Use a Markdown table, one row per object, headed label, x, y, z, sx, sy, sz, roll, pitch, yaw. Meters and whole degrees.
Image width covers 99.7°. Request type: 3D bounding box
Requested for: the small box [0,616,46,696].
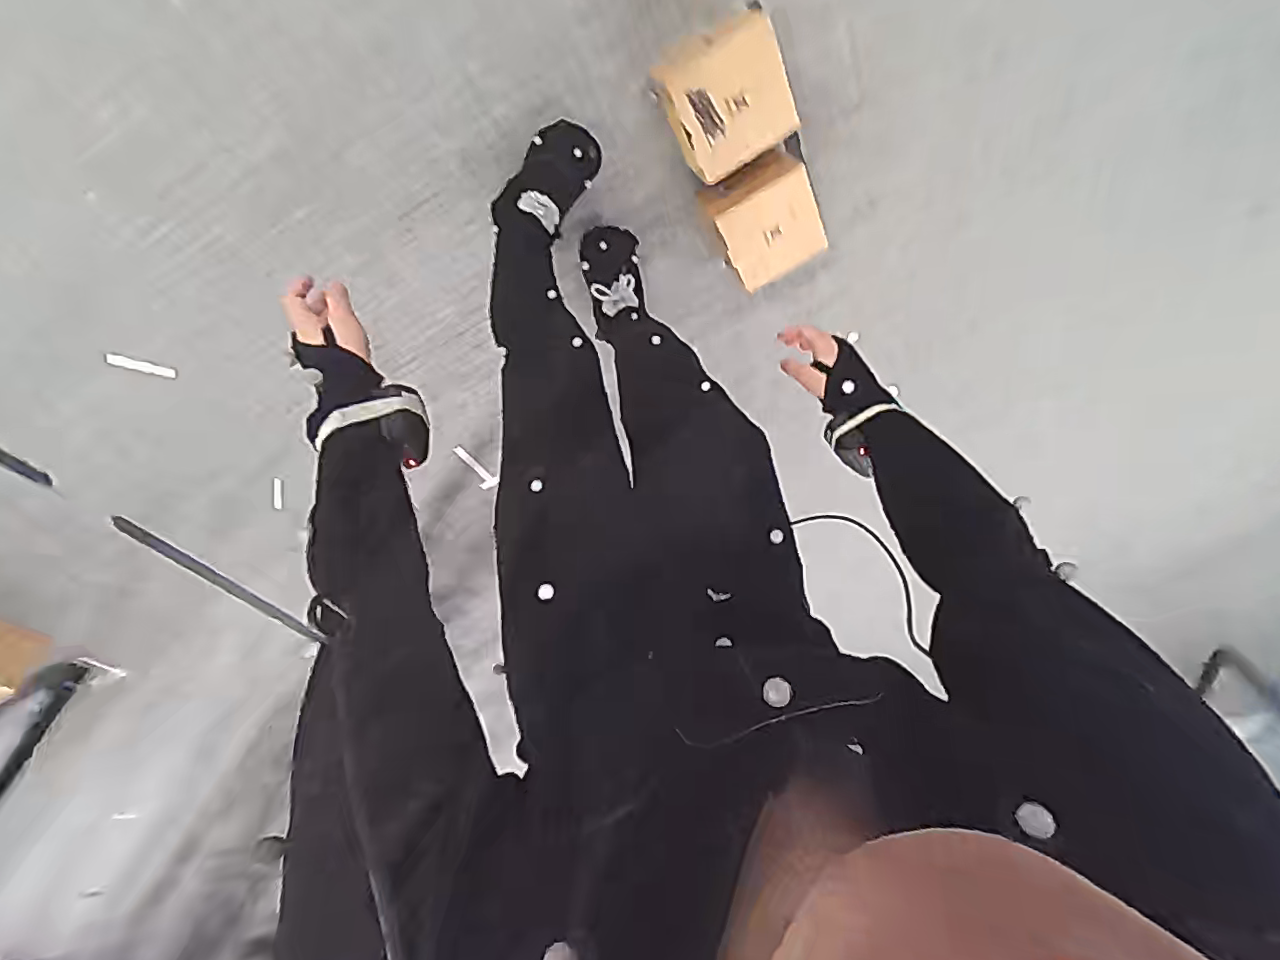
| label | x | y | z | sx | sy | sz | roll | pitch | yaw |
| --- | --- | --- | --- | --- | --- | --- | --- | --- | --- |
| small box | -1.855 | 0.507 | 1.516 | 0.179 | 0.176 | 0.168 | -24 | 131 | 11 |
